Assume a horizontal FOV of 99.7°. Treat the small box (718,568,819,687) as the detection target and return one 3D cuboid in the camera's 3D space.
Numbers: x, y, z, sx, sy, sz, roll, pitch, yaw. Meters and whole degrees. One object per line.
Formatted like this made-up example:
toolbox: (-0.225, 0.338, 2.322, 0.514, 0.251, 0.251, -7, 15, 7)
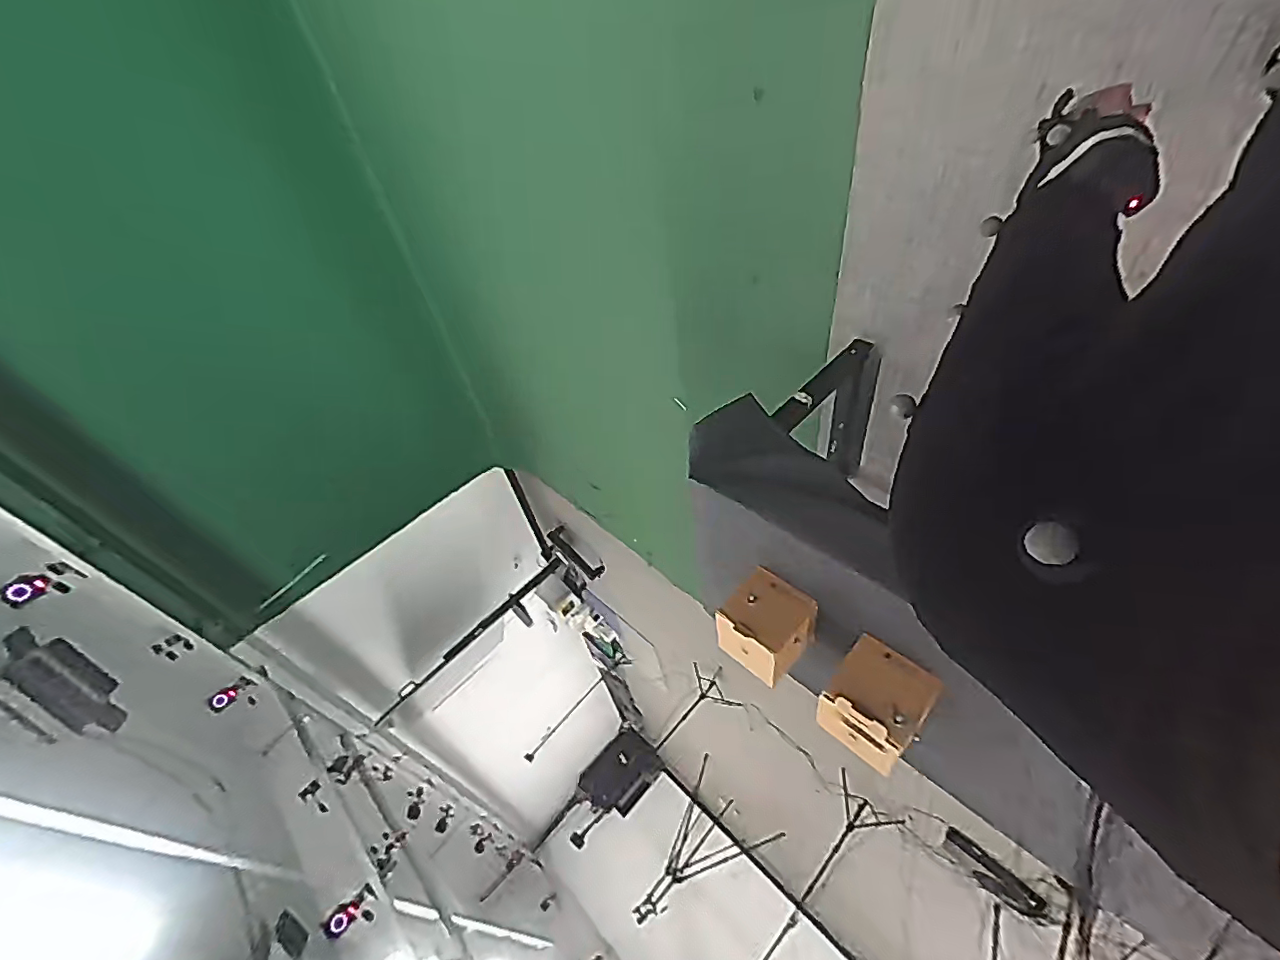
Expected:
small box: (0.303, 0.340, 1.272, 0.168, 0.176, 0.179, 33, 152, 36)
